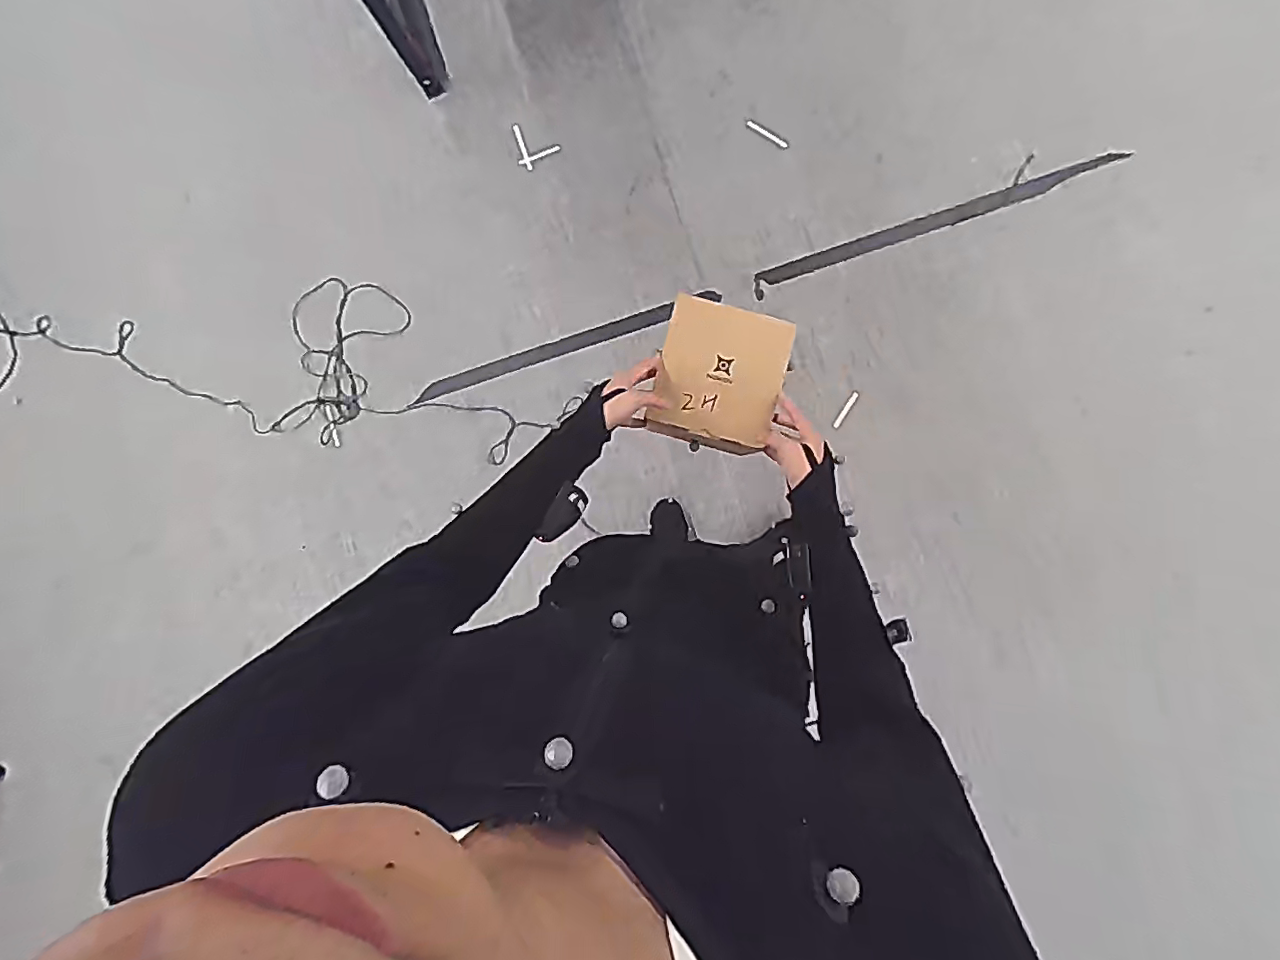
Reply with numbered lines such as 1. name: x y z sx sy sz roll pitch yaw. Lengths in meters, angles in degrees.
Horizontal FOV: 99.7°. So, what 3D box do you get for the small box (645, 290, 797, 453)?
1. small box: 0.105 -0.144 0.780 0.168 0.176 0.179 15 91 1
